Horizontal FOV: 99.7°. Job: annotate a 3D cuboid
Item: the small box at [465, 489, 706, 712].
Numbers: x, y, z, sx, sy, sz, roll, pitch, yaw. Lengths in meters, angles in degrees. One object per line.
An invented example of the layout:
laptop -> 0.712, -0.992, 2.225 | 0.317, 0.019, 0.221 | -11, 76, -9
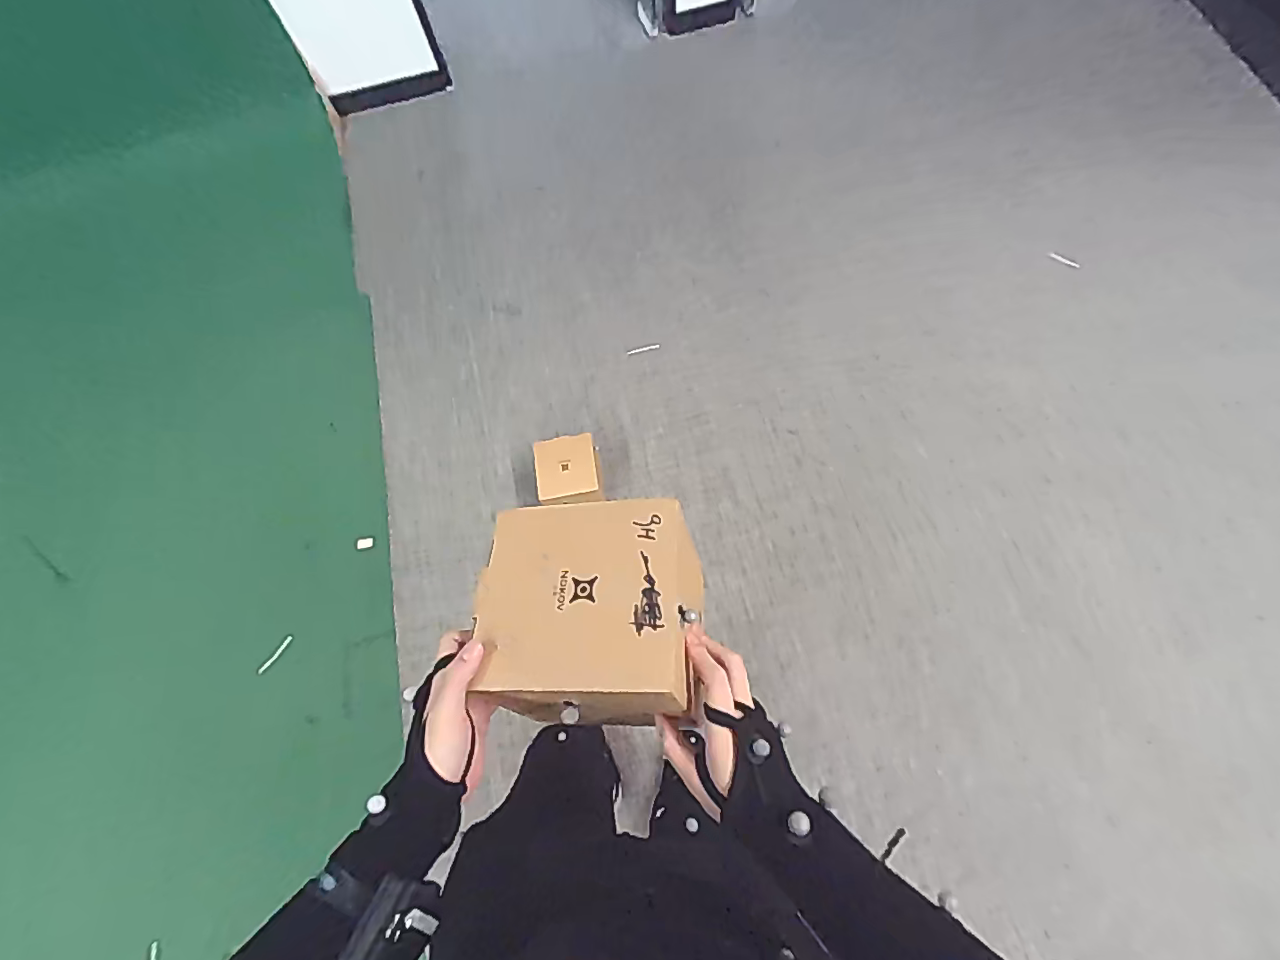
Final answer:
small box -> -0.036, 0.125, 0.529 | 0.179, 0.176, 0.168 | -4, 58, 14

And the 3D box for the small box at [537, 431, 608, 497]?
small box -> -0.189, -0.018, 1.554 | 0.168, 0.176, 0.179 | -10, 69, 1
